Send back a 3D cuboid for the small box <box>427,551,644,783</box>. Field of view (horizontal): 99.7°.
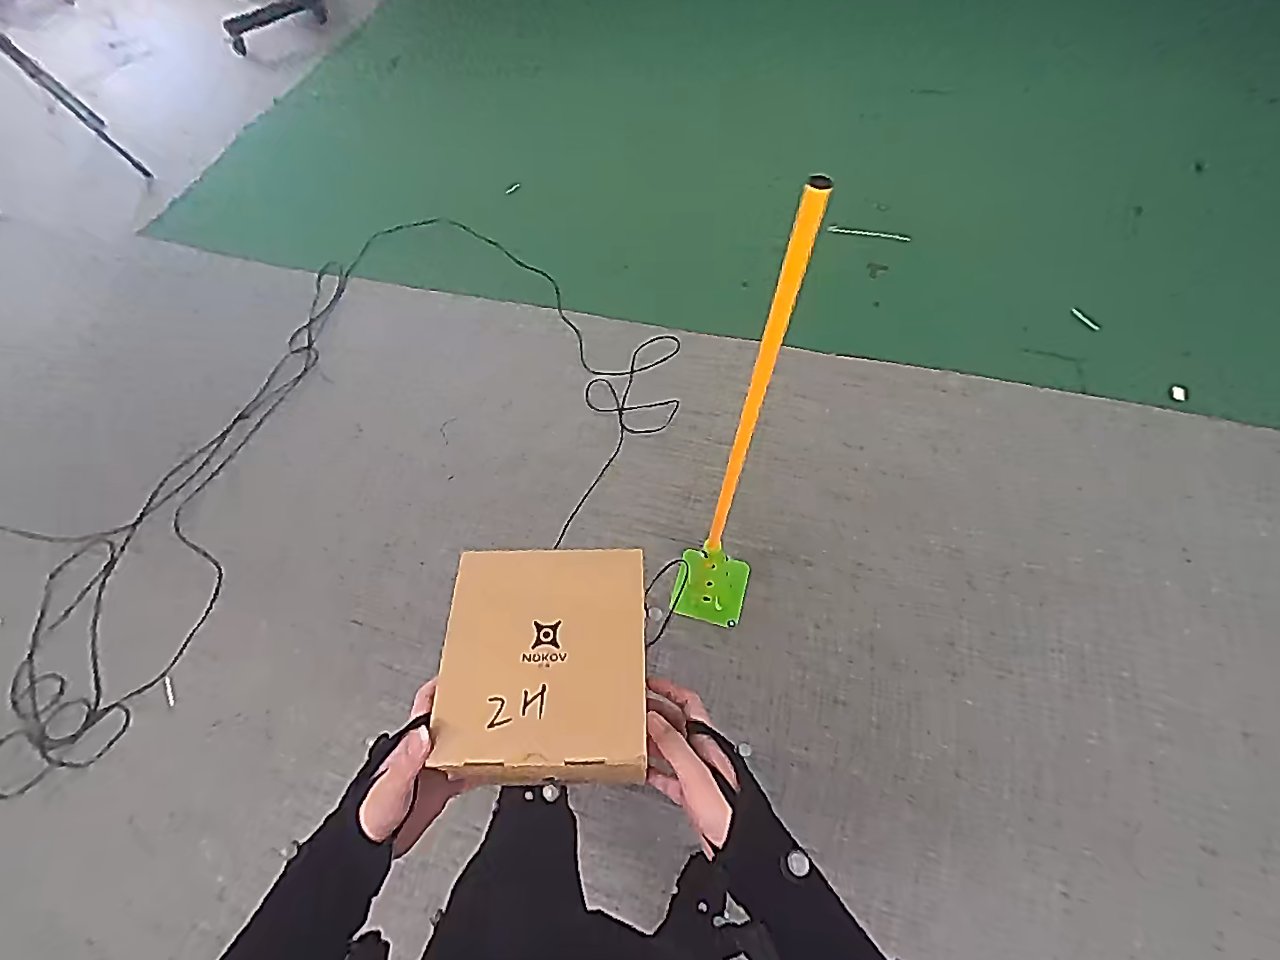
[{"bbox_3d":[-0.080,0.183,0.517,0.168,0.176,0.179,0,57,0],"label":"small box"}]

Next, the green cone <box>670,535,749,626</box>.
[{"bbox_3d":[0.185,0.229,1.424,0.202,0.368,0.200,13,64,13],"label":"green cone"}]
